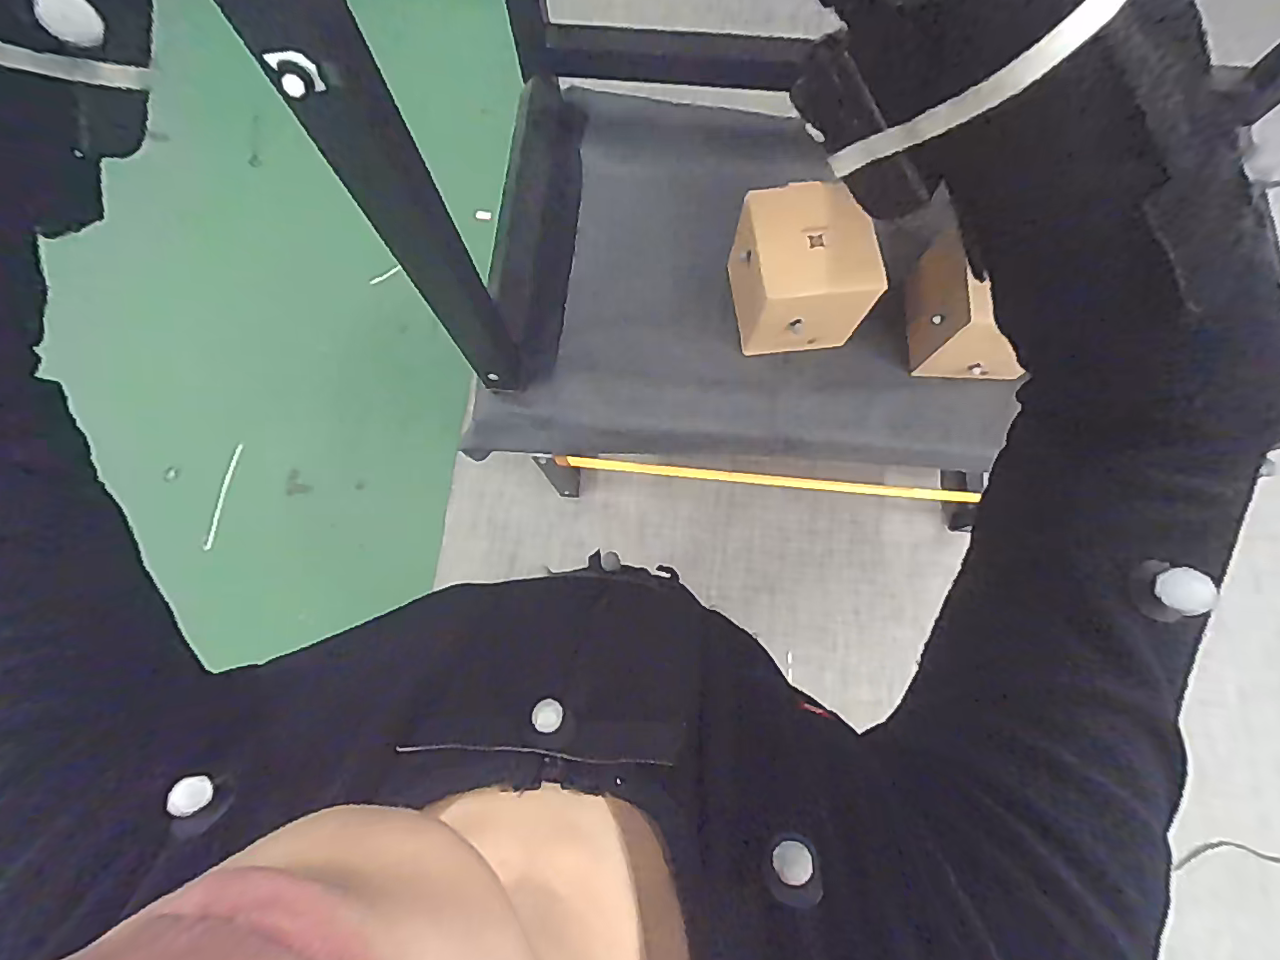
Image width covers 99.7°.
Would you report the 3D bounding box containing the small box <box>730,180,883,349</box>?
[{"bbox_3d":[0.236,-0.309,0.813,0.168,0.176,0.179,-6,76,-1],"label":"small box"}]
